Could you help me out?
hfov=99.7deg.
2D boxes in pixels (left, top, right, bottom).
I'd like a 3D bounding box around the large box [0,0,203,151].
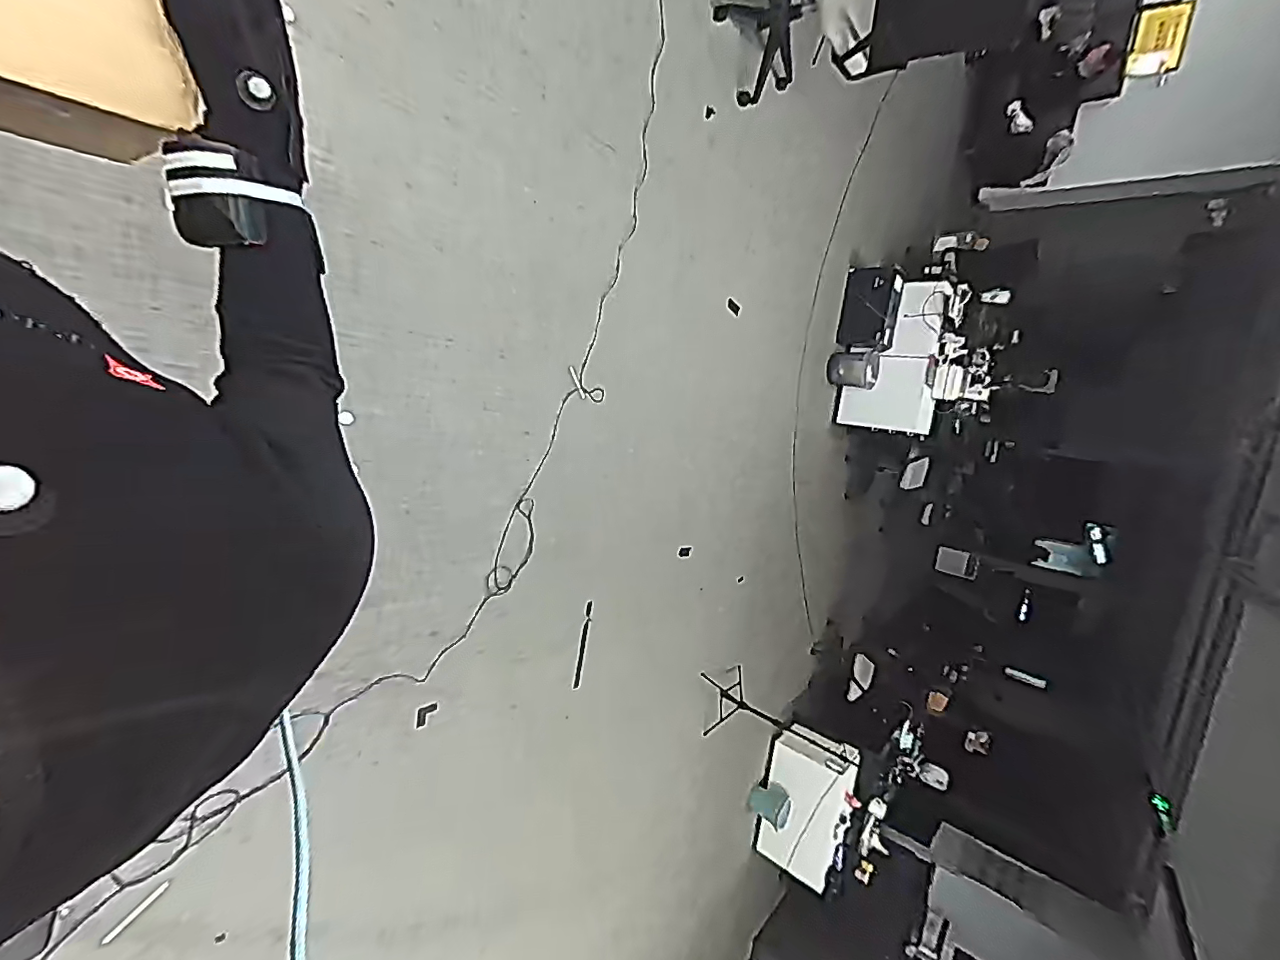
[{"bbox_3d":[-0.536,-0.427,0.295,0.408,0.320,0.320,-8,114,-50],"label":"large box"}]
